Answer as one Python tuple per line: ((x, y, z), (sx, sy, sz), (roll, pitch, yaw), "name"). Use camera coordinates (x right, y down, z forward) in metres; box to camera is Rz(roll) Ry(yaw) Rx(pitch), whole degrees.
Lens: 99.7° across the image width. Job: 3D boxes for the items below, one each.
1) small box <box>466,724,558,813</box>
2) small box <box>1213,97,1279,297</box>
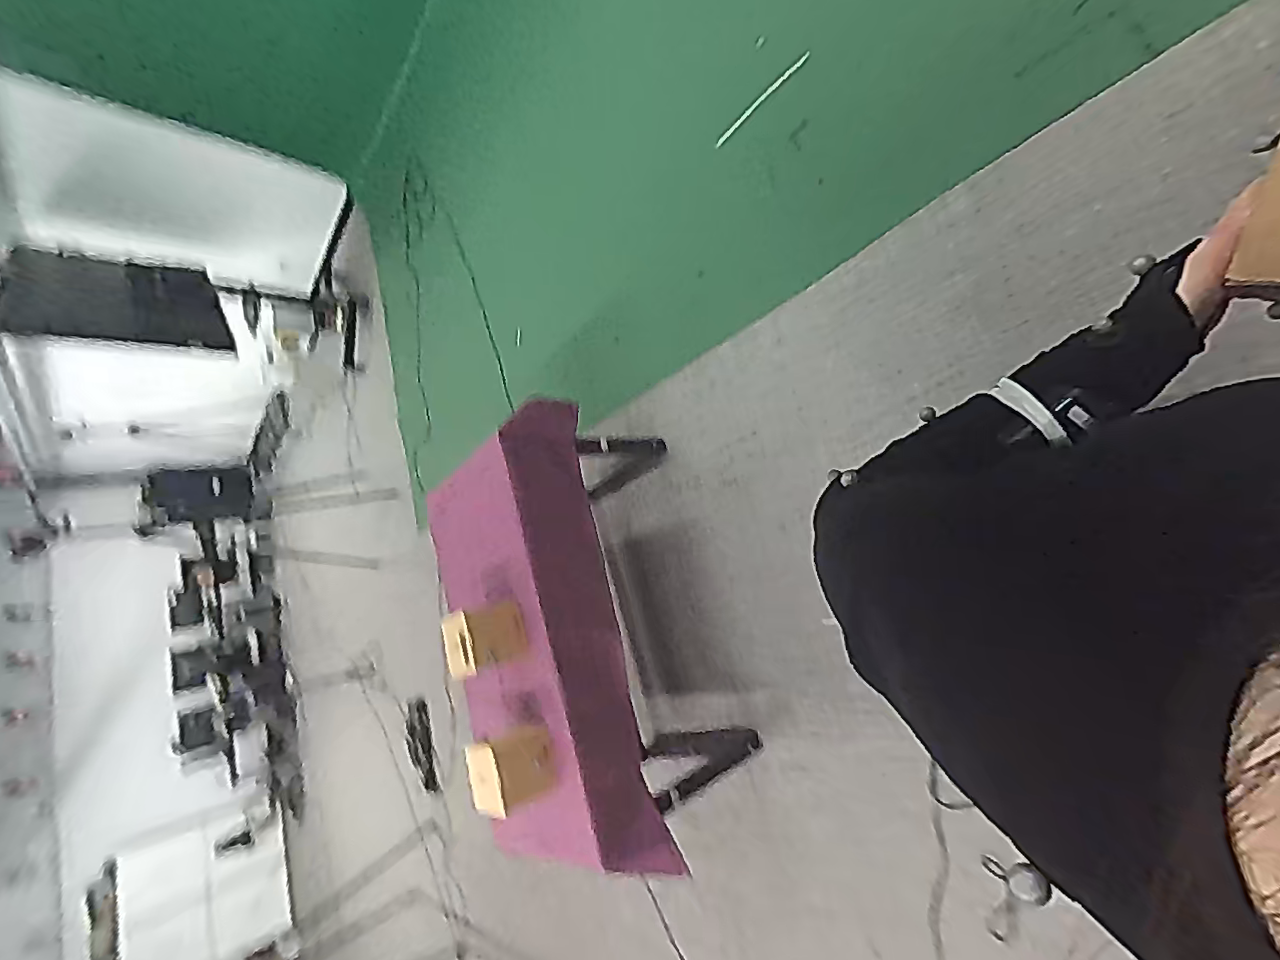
((-0.350, 0.778, 1.476), (0.179, 0.176, 0.168), (-28, 72, 44), "small box")
((0.488, -0.200, 0.318), (0.168, 0.176, 0.179), (21, 114, 43), "small box")
